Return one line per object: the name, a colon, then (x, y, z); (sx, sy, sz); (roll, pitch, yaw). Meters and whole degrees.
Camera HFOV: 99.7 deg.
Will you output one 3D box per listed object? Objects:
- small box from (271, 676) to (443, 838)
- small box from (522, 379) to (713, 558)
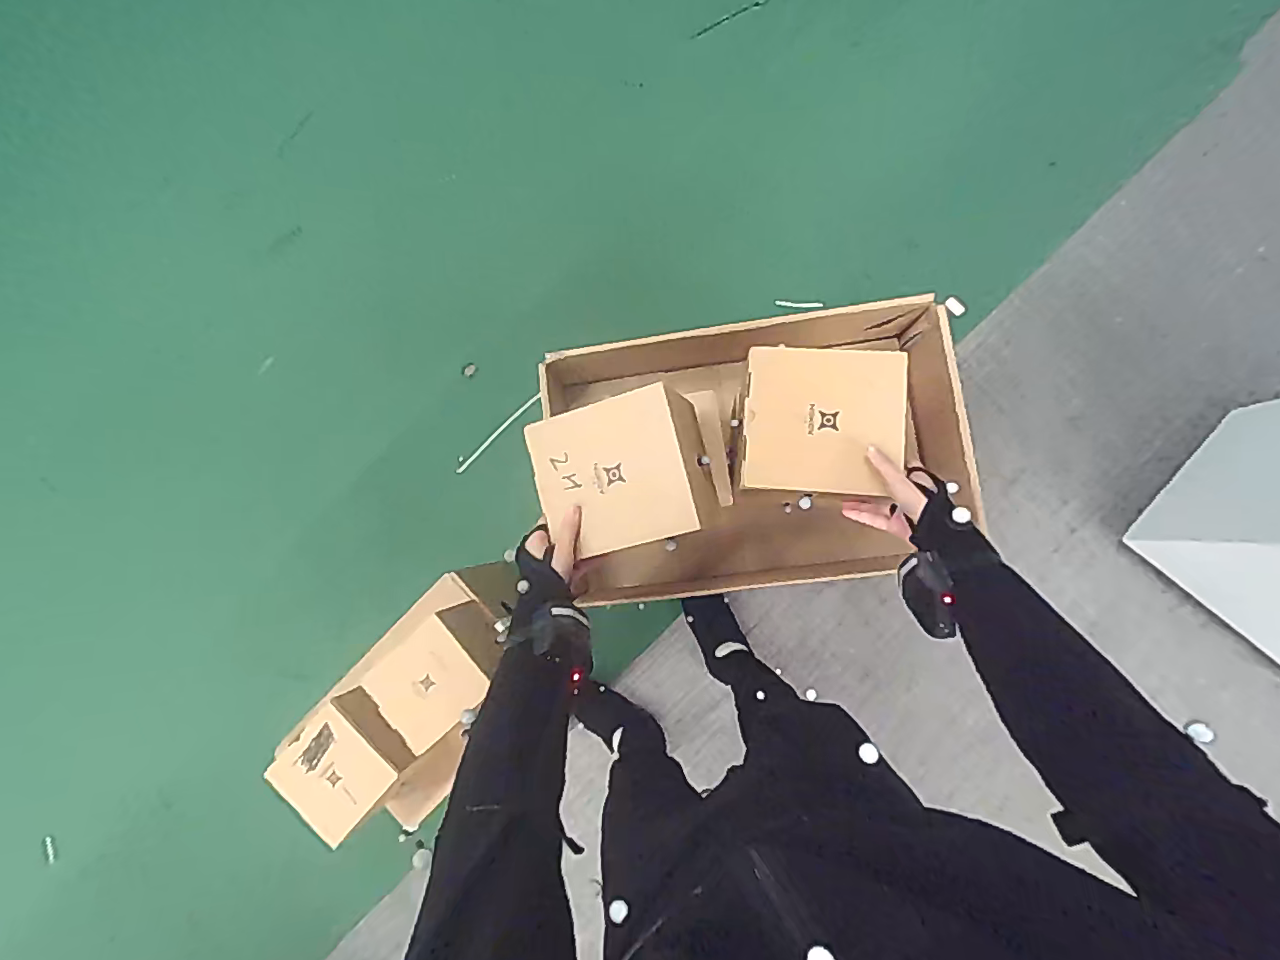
small box: (-0.498, 0.480, 0.975); (0.179, 0.176, 0.168); (42, 90, 7)
small box: (-0.015, -0.011, 0.671); (0.179, 0.176, 0.168); (-16, 84, 17)
